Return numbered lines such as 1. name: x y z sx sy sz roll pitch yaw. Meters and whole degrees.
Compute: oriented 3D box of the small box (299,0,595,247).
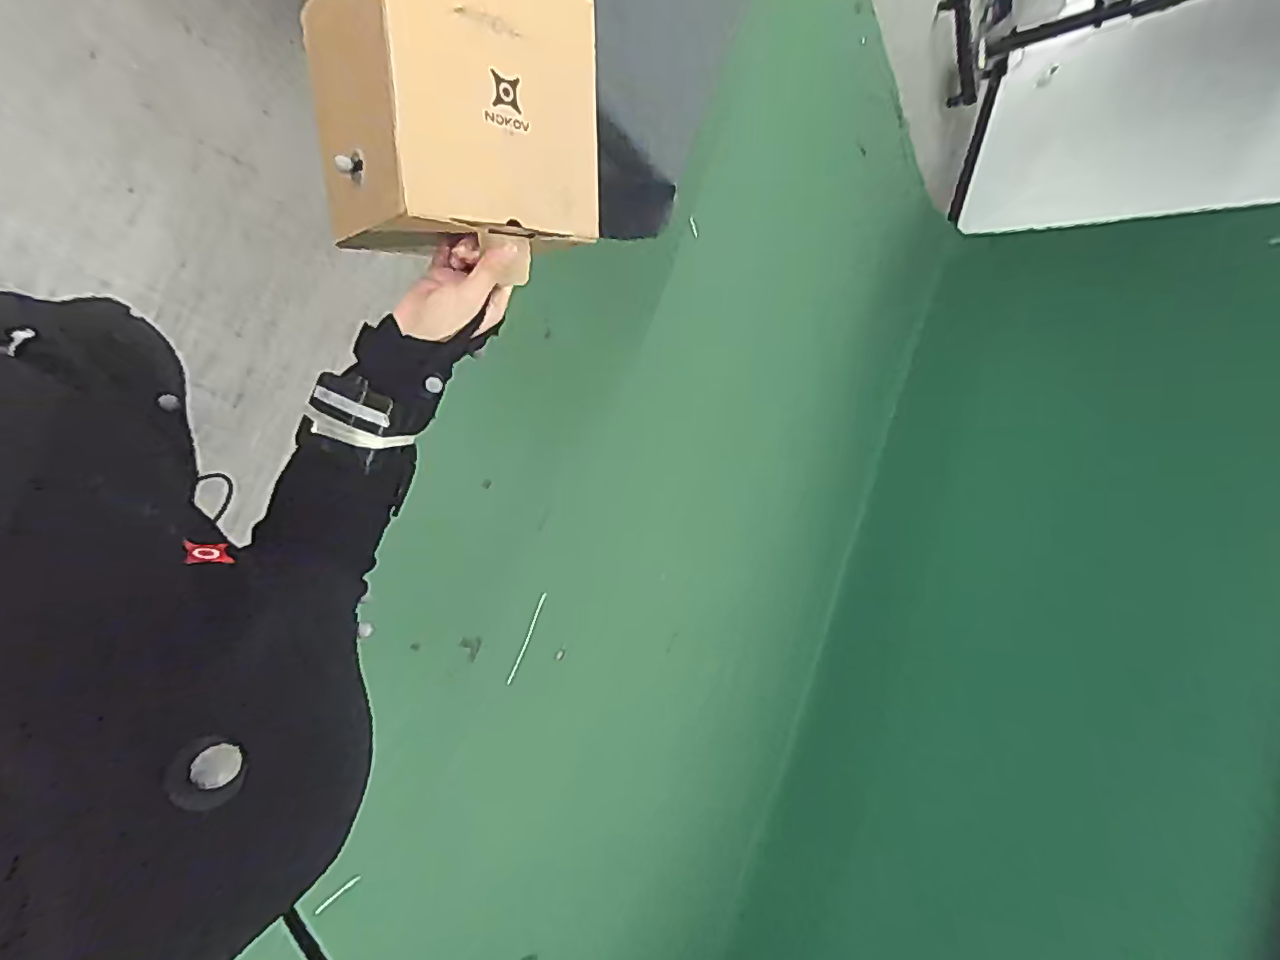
1. small box: -0.153 -0.297 0.439 0.168 0.176 0.179 -15 110 -43
